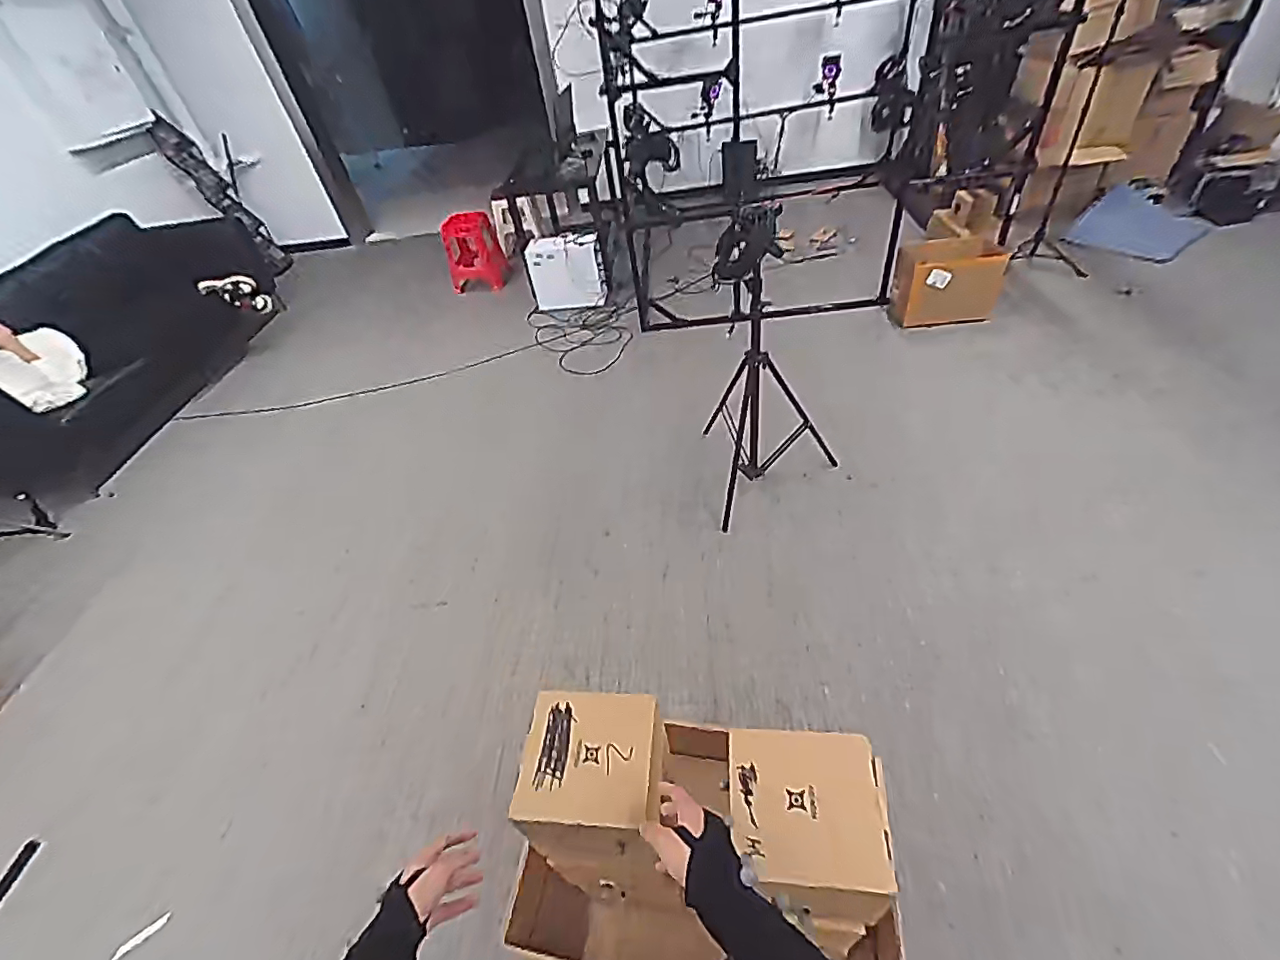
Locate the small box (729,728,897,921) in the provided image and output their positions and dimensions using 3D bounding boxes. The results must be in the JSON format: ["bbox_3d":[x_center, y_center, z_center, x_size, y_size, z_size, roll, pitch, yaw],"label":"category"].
[{"bbox_3d":[0.203,0.439,0.689,0.179,0.176,0.168,0,43,10],"label":"small box"}]

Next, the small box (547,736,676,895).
[{"bbox_3d":[-0.033,0.536,0.869,0.168,0.176,0.179,-3,43,10],"label":"small box"}]

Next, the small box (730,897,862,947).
[{"bbox_3d":[0.222,0.560,0.799,0.168,0.176,0.179,1,43,11],"label":"small box"}]

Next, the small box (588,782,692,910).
[{"bbox_3d":[-0.003,0.656,0.978,0.179,0.176,0.168,0,44,10],"label":"small box"}]
